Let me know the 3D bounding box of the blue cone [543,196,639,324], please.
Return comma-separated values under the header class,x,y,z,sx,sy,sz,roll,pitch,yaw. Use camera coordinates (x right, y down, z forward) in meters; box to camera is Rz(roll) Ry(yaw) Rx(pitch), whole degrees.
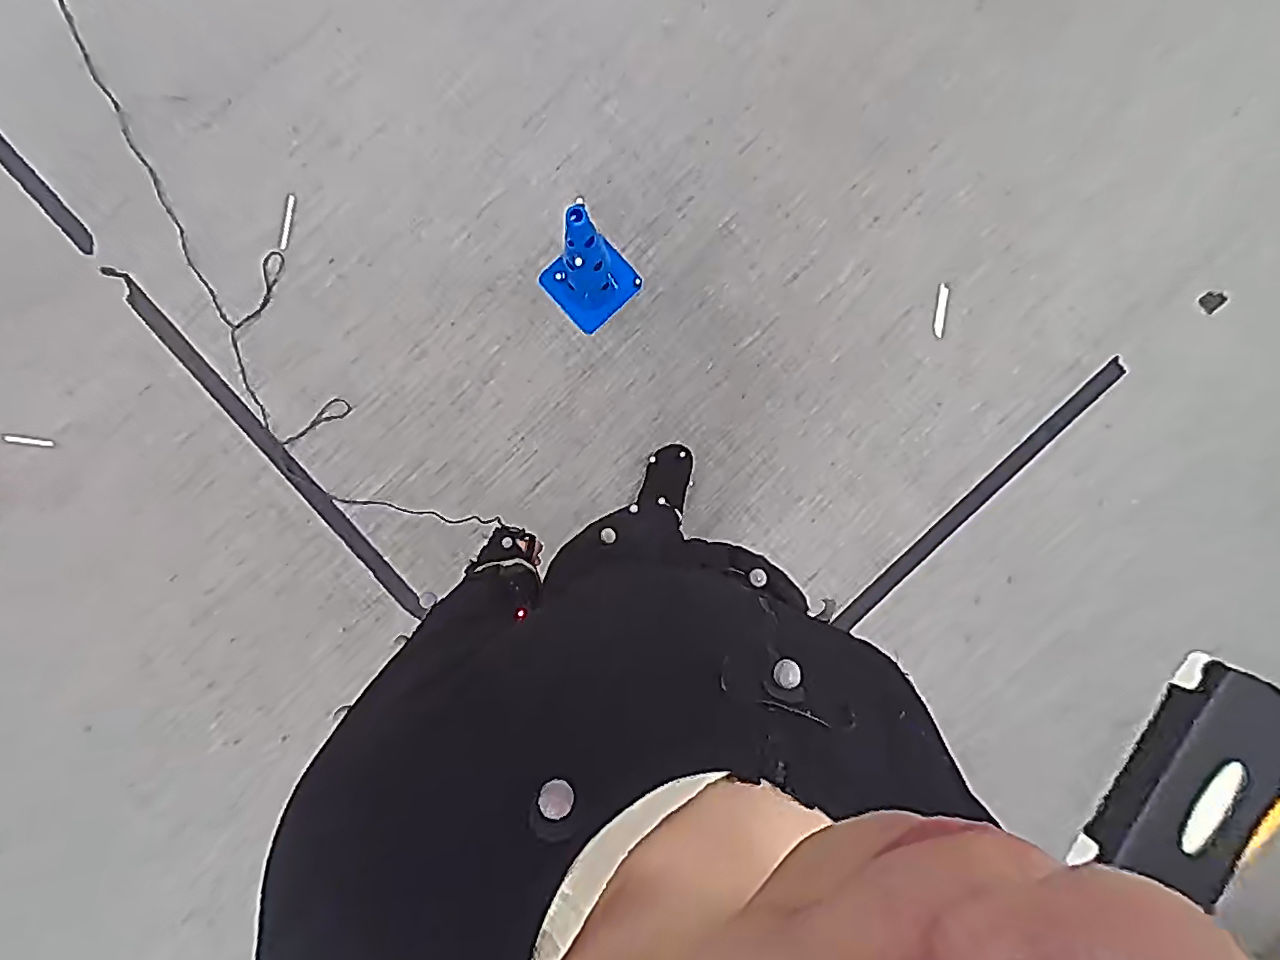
class,x,y,z,sx,sy,sz,roll,pitch,yaw
blue cone,-0.122,-0.507,1.190,0.192,0.380,0.193,-42,91,-1
